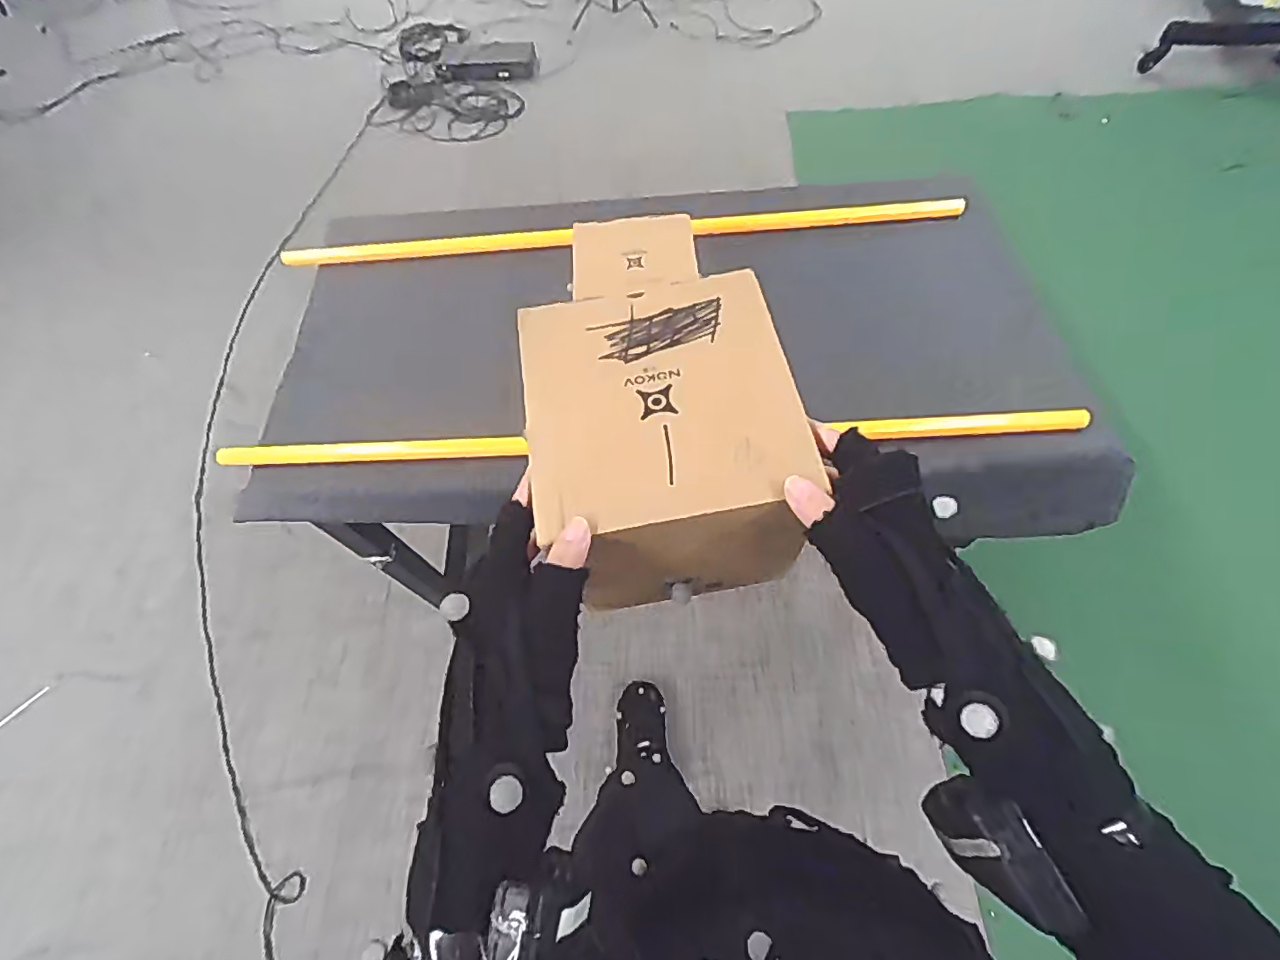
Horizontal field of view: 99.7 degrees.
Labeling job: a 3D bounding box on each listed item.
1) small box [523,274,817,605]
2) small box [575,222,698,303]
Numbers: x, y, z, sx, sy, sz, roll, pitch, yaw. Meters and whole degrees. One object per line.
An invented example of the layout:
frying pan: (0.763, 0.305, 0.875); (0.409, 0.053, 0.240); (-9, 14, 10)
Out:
small box: (0.015, -0.021, 0.413); (0.168, 0.176, 0.179); (-10, 63, 1)
small box: (-0.002, -0.244, 0.795); (0.168, 0.176, 0.179); (-6, 62, 2)
